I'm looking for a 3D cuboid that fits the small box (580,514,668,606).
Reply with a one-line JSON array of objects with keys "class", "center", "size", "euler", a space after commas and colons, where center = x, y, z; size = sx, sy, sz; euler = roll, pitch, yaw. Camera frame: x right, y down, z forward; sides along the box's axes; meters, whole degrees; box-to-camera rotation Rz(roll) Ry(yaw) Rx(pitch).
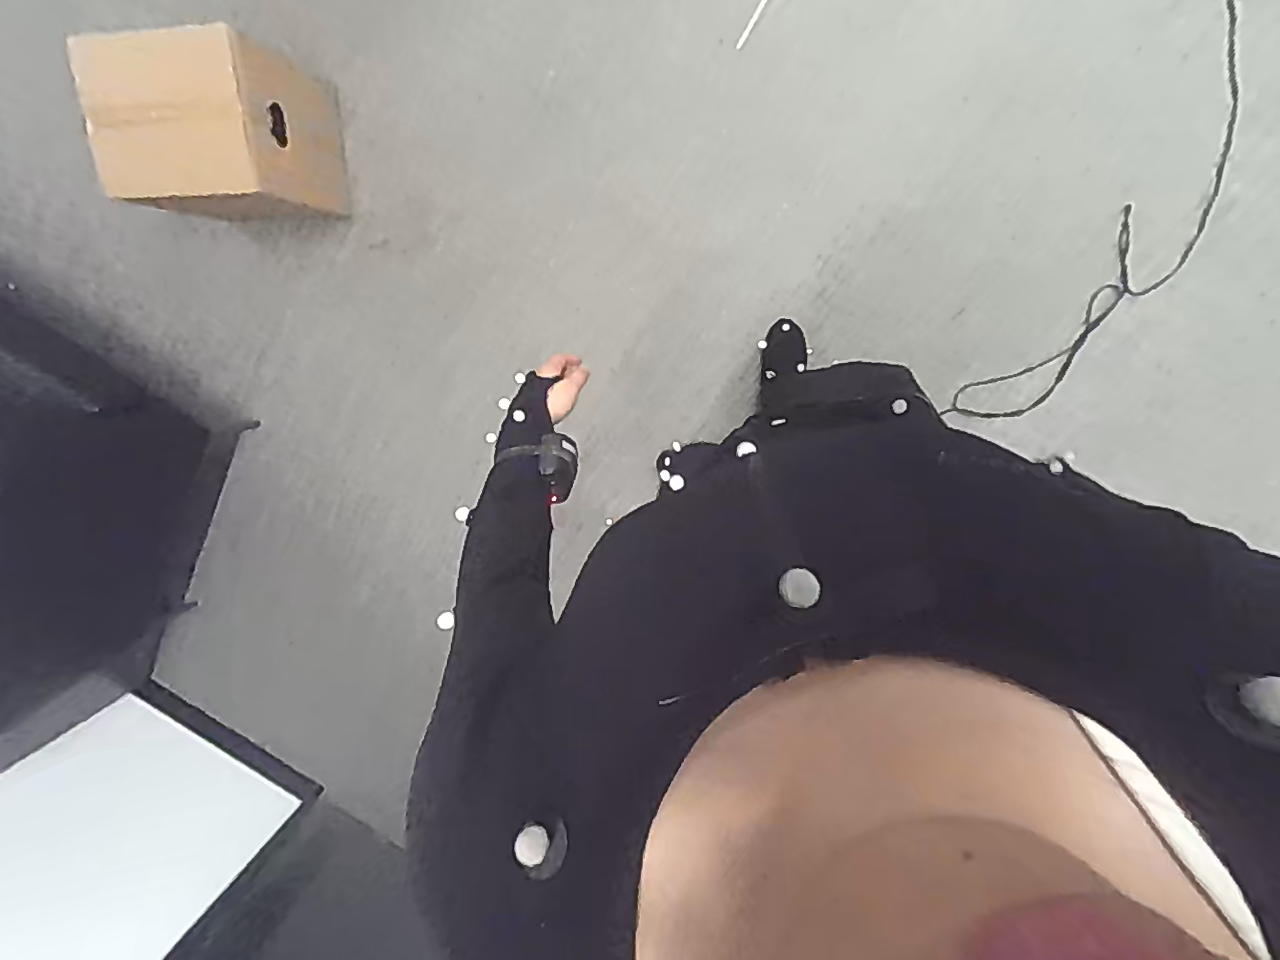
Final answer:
[{"class": "small box", "center": [-0.040, 0.217, 1.537], "size": [0.179, 0.176, 0.168], "euler": [34, 110, -2]}]
